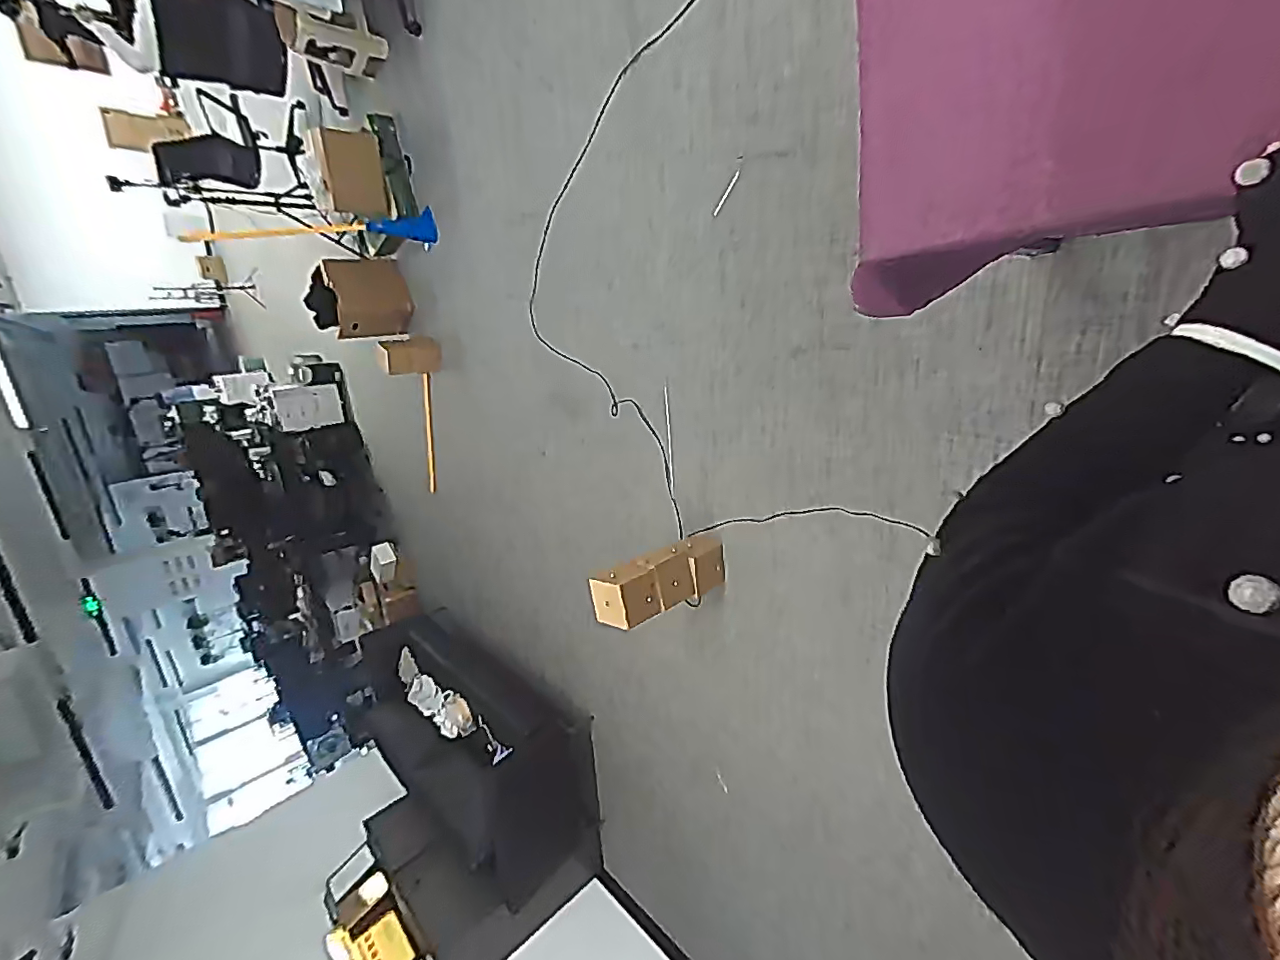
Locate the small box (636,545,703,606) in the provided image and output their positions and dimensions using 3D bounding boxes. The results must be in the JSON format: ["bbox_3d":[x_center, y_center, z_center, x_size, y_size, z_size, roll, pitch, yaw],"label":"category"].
[{"bbox_3d":[0.112,0.354,2.041,0.168,0.176,0.179,-4,102,51],"label":"small box"}]

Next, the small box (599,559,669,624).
[{"bbox_3d":[-0.019,0.395,1.951,0.179,0.176,0.168,0,104,49],"label":"small box"}]
